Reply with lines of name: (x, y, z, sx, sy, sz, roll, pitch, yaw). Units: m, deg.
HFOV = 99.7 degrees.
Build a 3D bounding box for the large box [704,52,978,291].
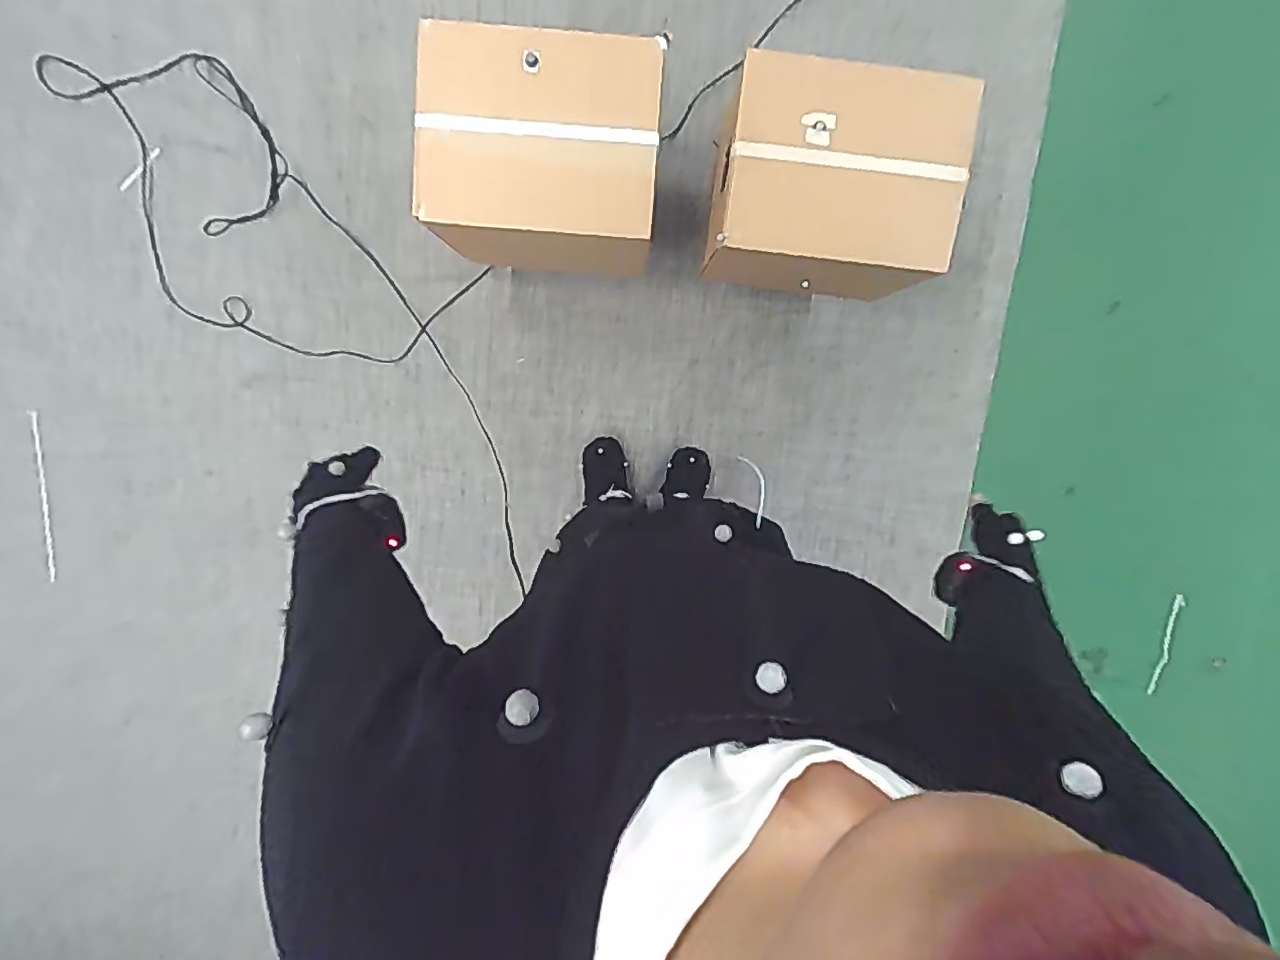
large box: (0.359, -0.573, 1.077, 0.408, 0.320, 0.320, 7, 100, -1)
